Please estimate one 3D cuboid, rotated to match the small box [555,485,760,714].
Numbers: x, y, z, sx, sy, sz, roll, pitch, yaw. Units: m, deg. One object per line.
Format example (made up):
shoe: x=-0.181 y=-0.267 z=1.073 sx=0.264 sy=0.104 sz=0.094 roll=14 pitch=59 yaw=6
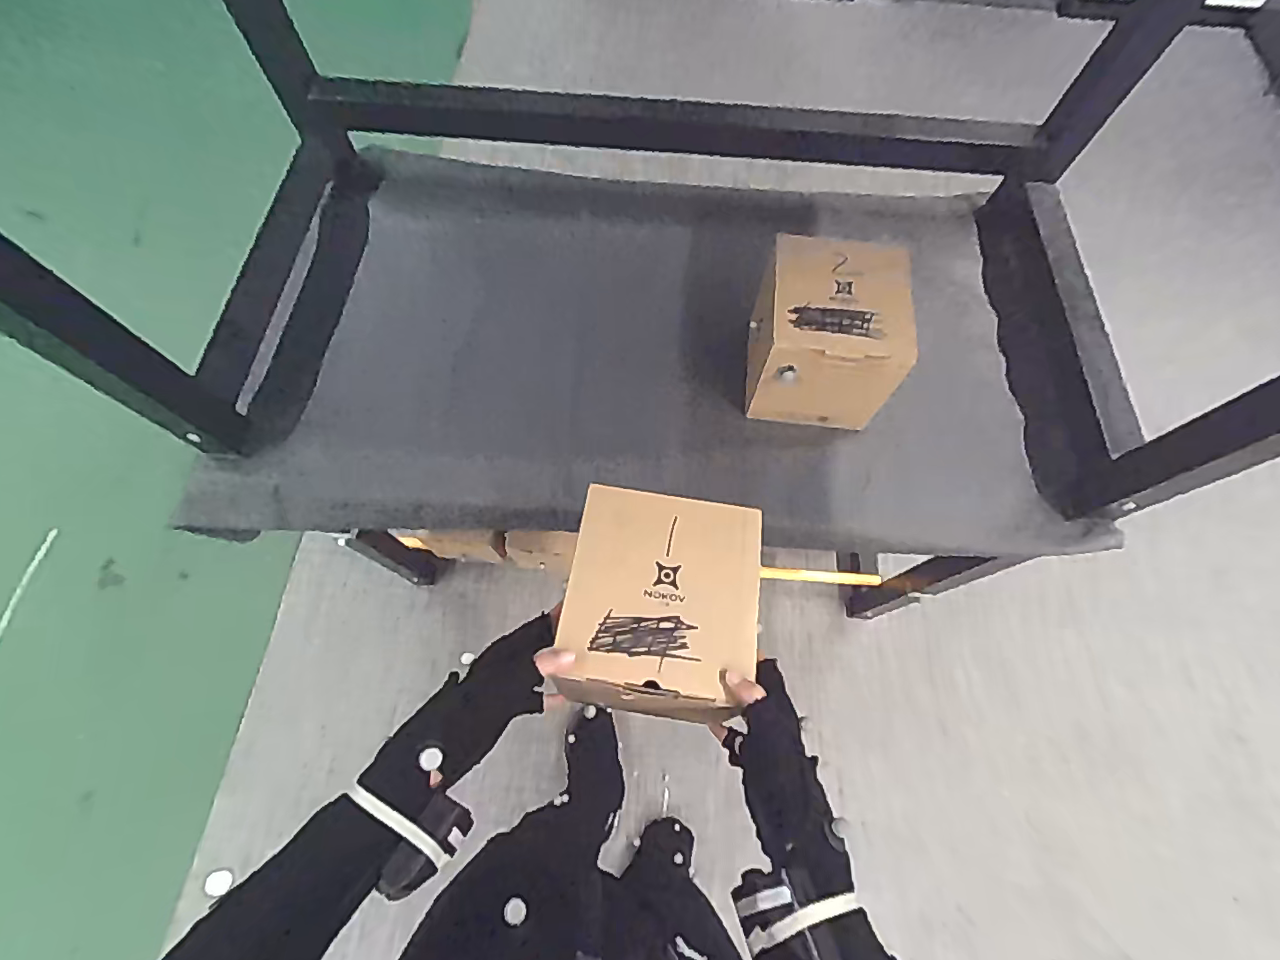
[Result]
small box: x=0.019 y=0.130 z=0.553 sx=0.168 sy=0.176 sz=0.179 roll=9 pitch=60 yaw=1
